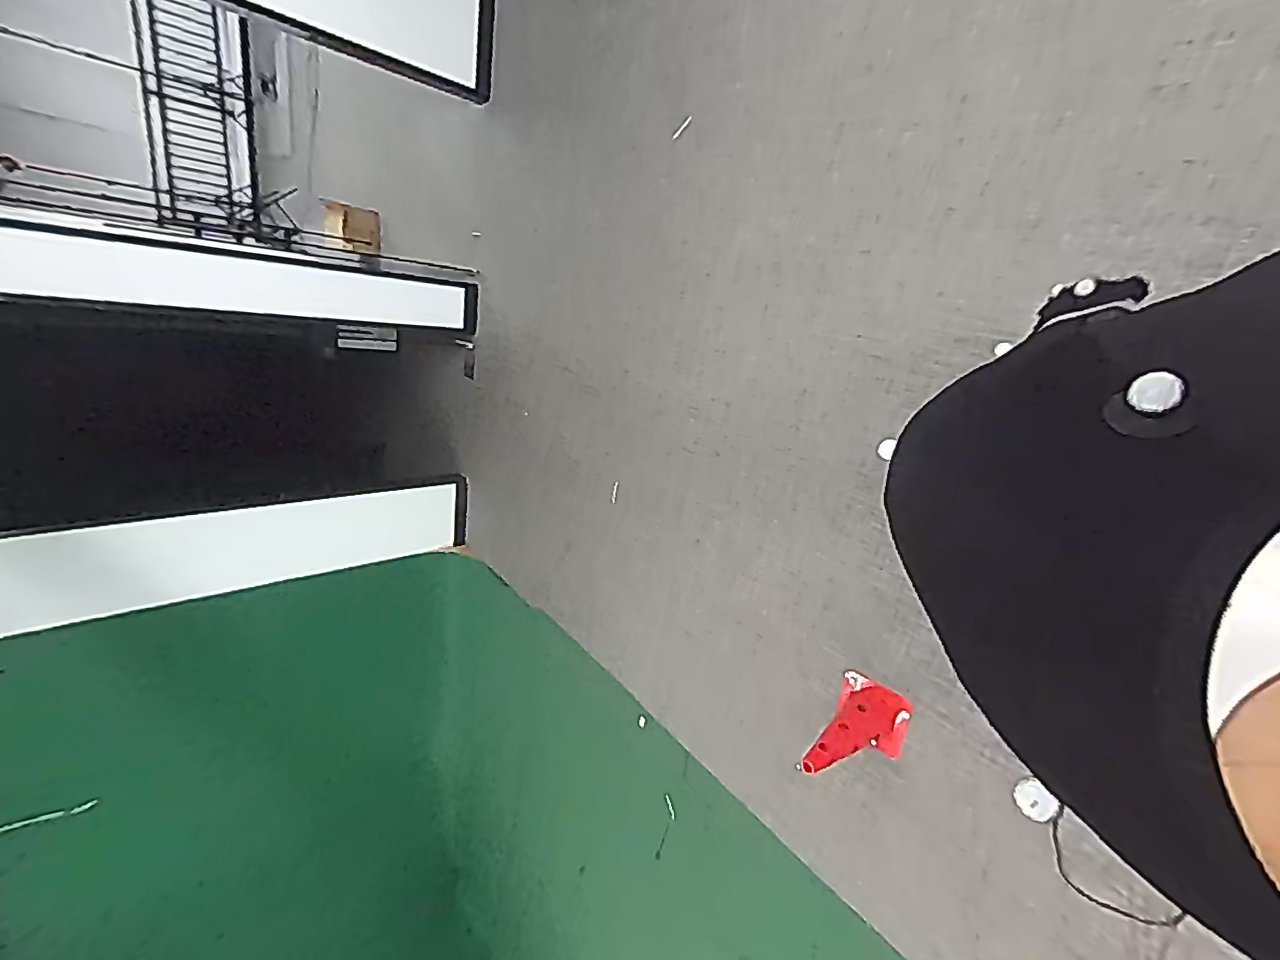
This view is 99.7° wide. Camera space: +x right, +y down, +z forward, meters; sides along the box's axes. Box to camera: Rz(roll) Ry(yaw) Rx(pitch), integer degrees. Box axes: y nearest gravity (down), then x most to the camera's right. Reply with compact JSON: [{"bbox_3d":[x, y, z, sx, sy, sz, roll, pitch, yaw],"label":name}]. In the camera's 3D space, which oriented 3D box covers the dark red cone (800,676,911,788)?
[{"bbox_3d":[0.557,0.721,1.475,0.202,0.394,0.201,21,113,45],"label":"dark red cone"}]
